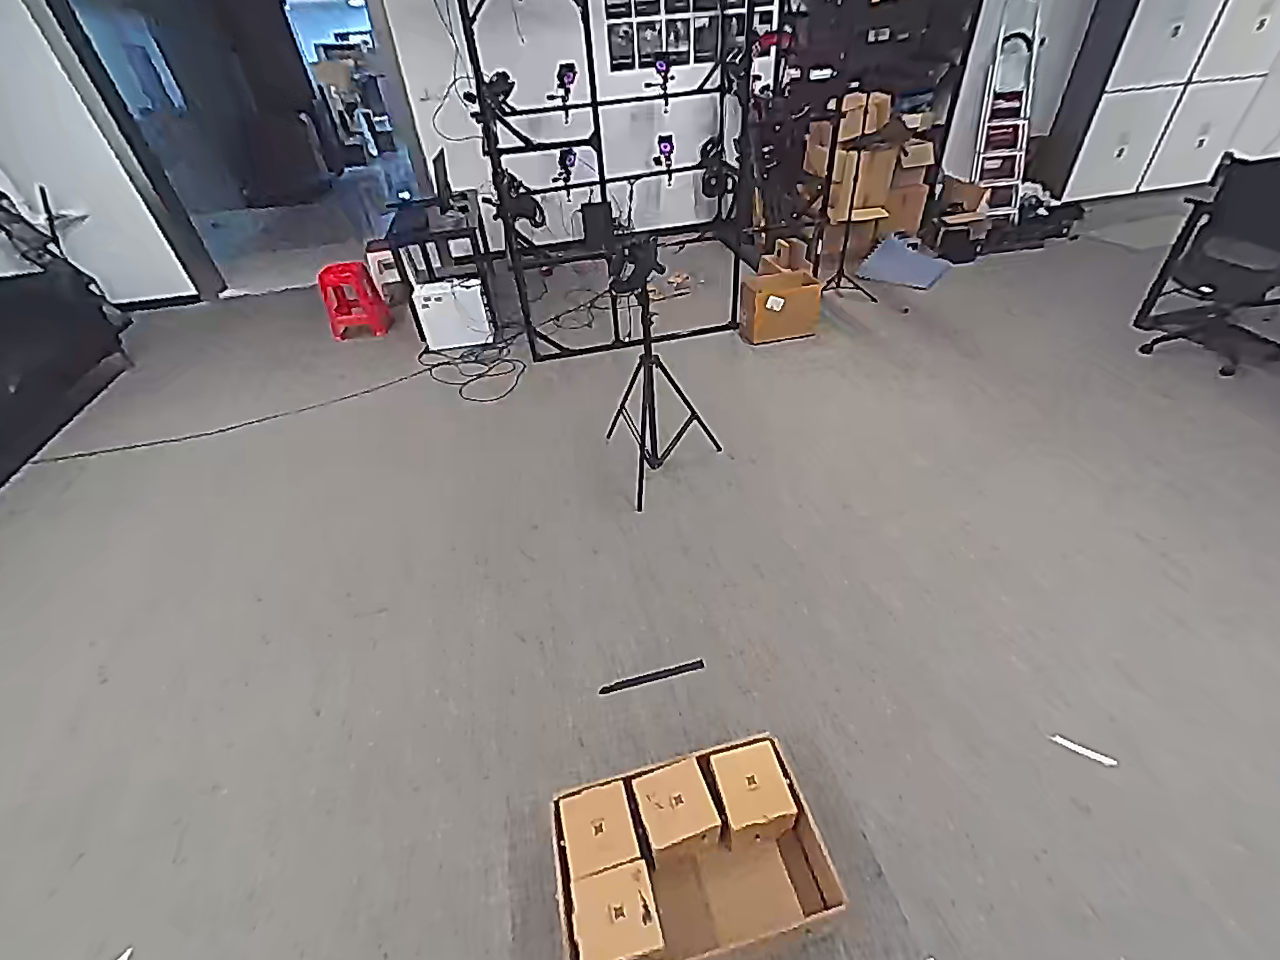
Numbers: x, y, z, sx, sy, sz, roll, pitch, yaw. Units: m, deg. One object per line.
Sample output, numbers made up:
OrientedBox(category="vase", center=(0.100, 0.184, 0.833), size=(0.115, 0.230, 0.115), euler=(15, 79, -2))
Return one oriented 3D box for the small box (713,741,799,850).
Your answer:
OrientedBox(category="small box", center=(0.288, 0.812, 1.392), size=(0.168, 0.176, 0.179), euler=(-12, 43, -7))
